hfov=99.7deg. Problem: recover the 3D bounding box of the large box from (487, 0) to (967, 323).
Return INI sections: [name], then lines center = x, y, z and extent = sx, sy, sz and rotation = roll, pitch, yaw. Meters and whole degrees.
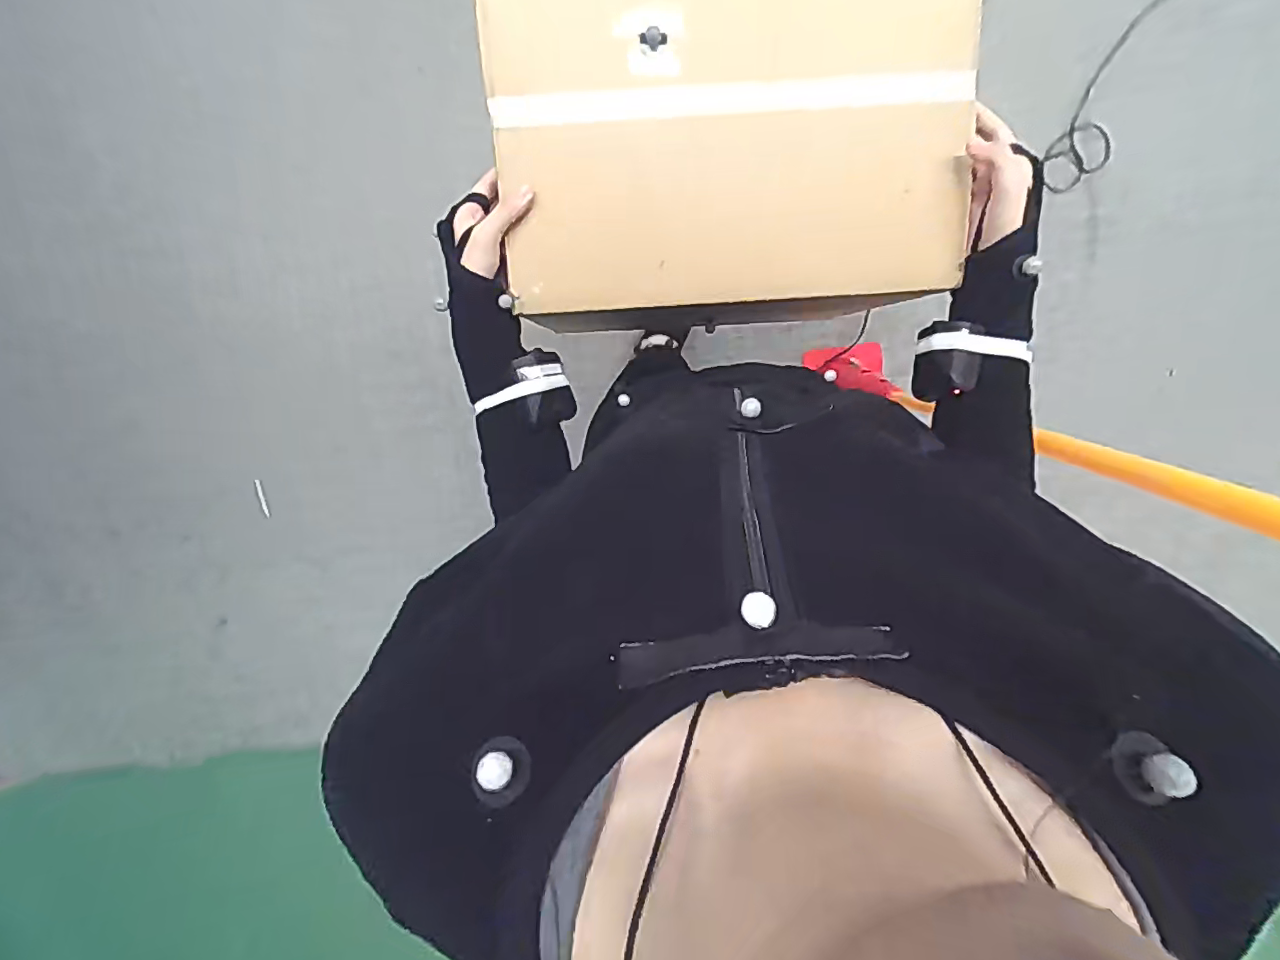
[large box]
center = 0.075, -0.352, 0.607
extent = 0.408, 0.320, 0.320
rotation = -3, 102, -1
